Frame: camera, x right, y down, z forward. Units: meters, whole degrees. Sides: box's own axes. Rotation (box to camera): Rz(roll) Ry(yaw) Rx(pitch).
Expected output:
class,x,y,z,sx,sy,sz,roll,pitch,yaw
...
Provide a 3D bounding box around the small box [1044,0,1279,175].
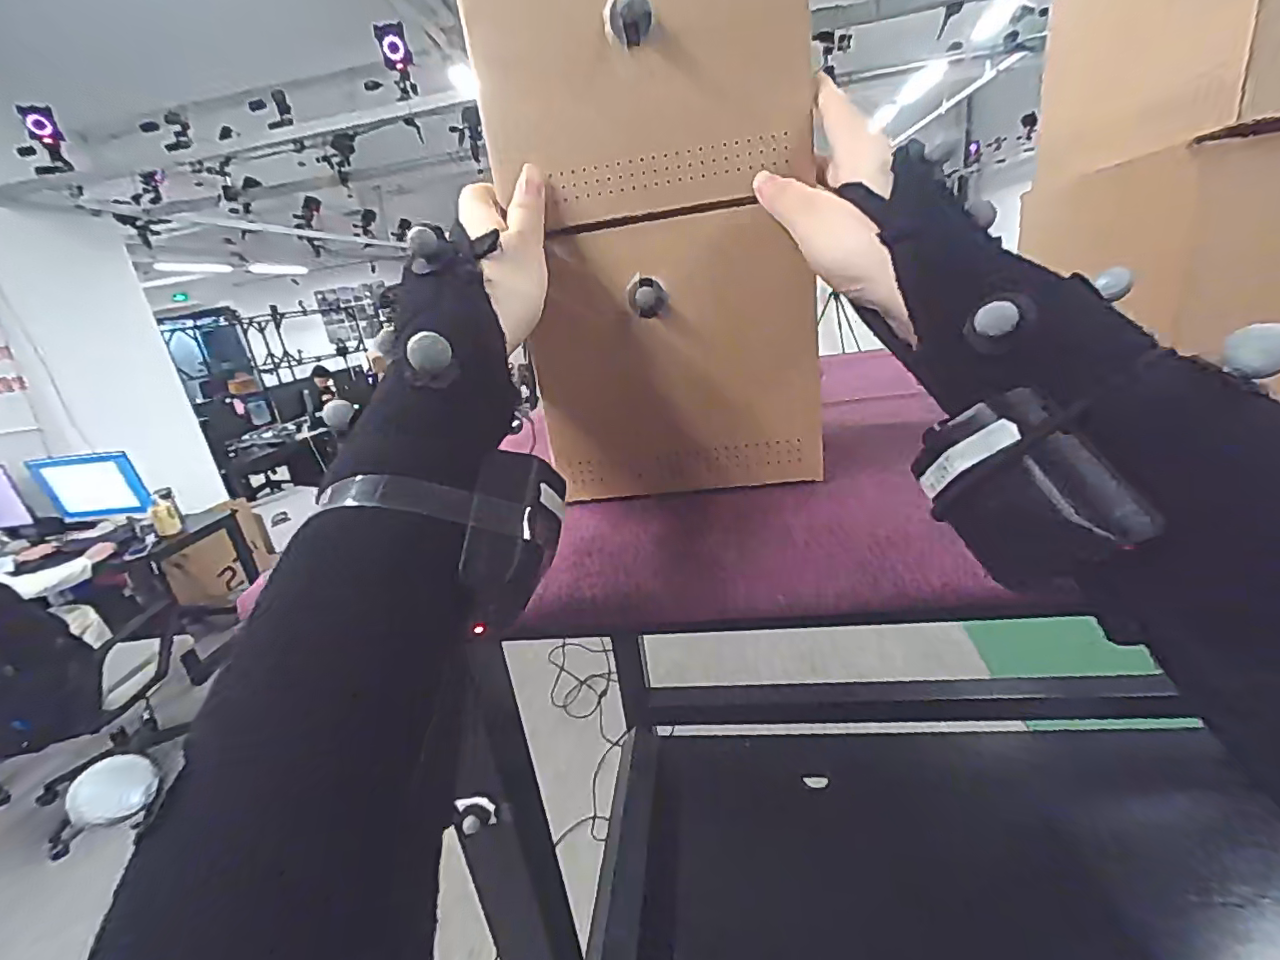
class,x,y,z,sx,sy,sz,roll,pitch,yaw
small box,0.369,-0.288,0.303,0.168,0.176,0.179,-4,17,6

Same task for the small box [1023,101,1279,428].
class,x,y,z,sx,sy,sz,roll,pitch,yaw
small box,0.385,-0.135,0.355,0.179,0.176,0.168,-5,18,9

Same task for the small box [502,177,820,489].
class,x,y,z,sx,sy,sz,roll,pitch,yaw
small box,0.025,-0.098,0.392,0.179,0.176,0.168,-5,20,8
